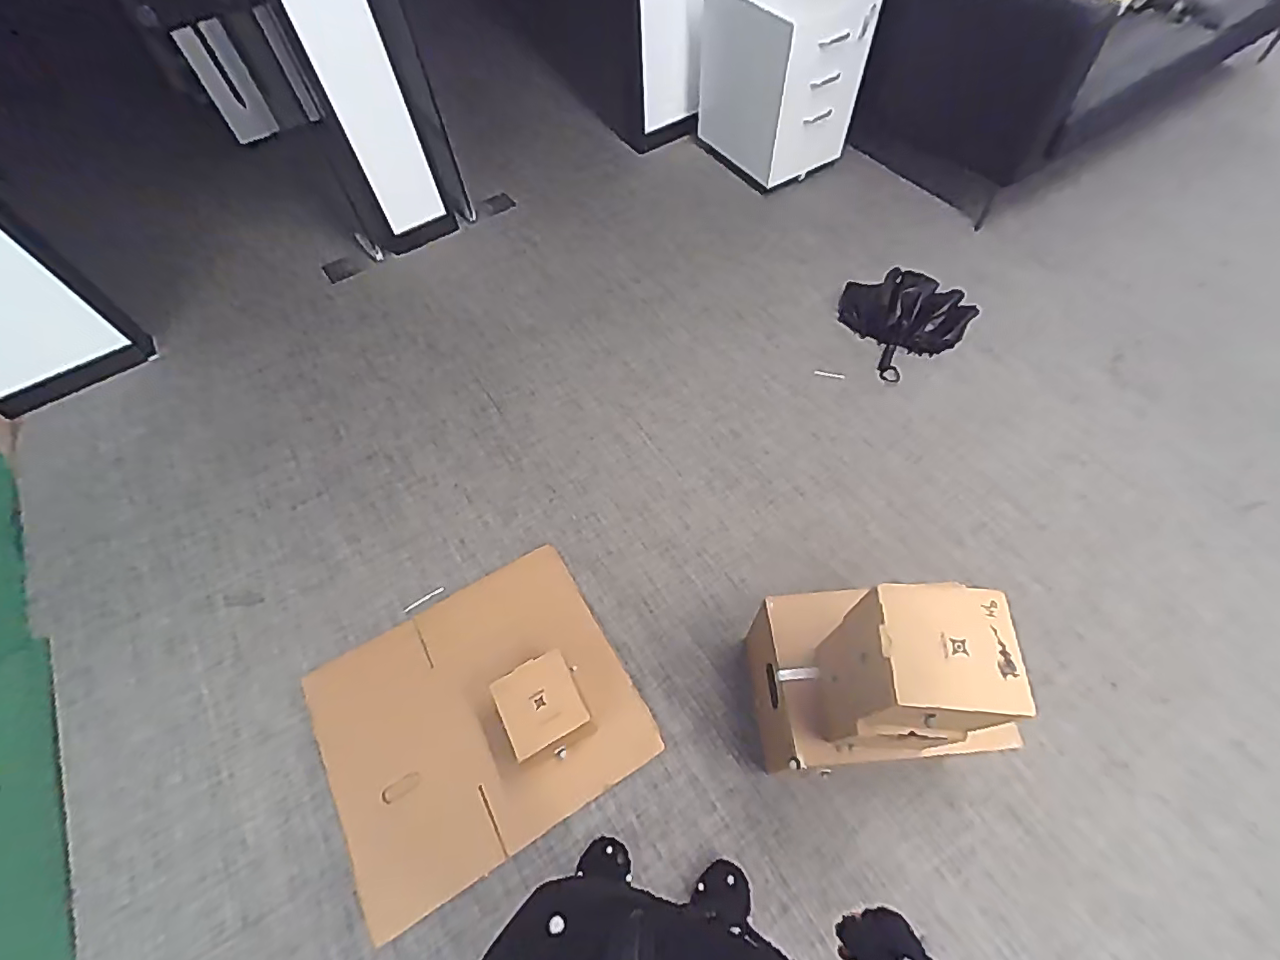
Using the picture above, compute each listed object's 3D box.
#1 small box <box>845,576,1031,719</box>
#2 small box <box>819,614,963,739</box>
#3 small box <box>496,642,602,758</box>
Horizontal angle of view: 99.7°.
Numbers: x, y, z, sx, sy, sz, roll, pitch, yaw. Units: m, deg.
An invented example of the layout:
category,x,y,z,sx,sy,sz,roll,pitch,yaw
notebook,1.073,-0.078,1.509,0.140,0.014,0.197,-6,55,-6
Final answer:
category,x,y,z,sx,sy,sz,roll,pitch,yaw
small box,0.416,0.251,0.797,0.179,0.176,0.168,1,58,2
small box,0.417,0.342,0.930,0.168,0.176,0.179,1,60,4
small box,-0.199,0.499,1.215,0.168,0.176,0.179,-28,62,-11
